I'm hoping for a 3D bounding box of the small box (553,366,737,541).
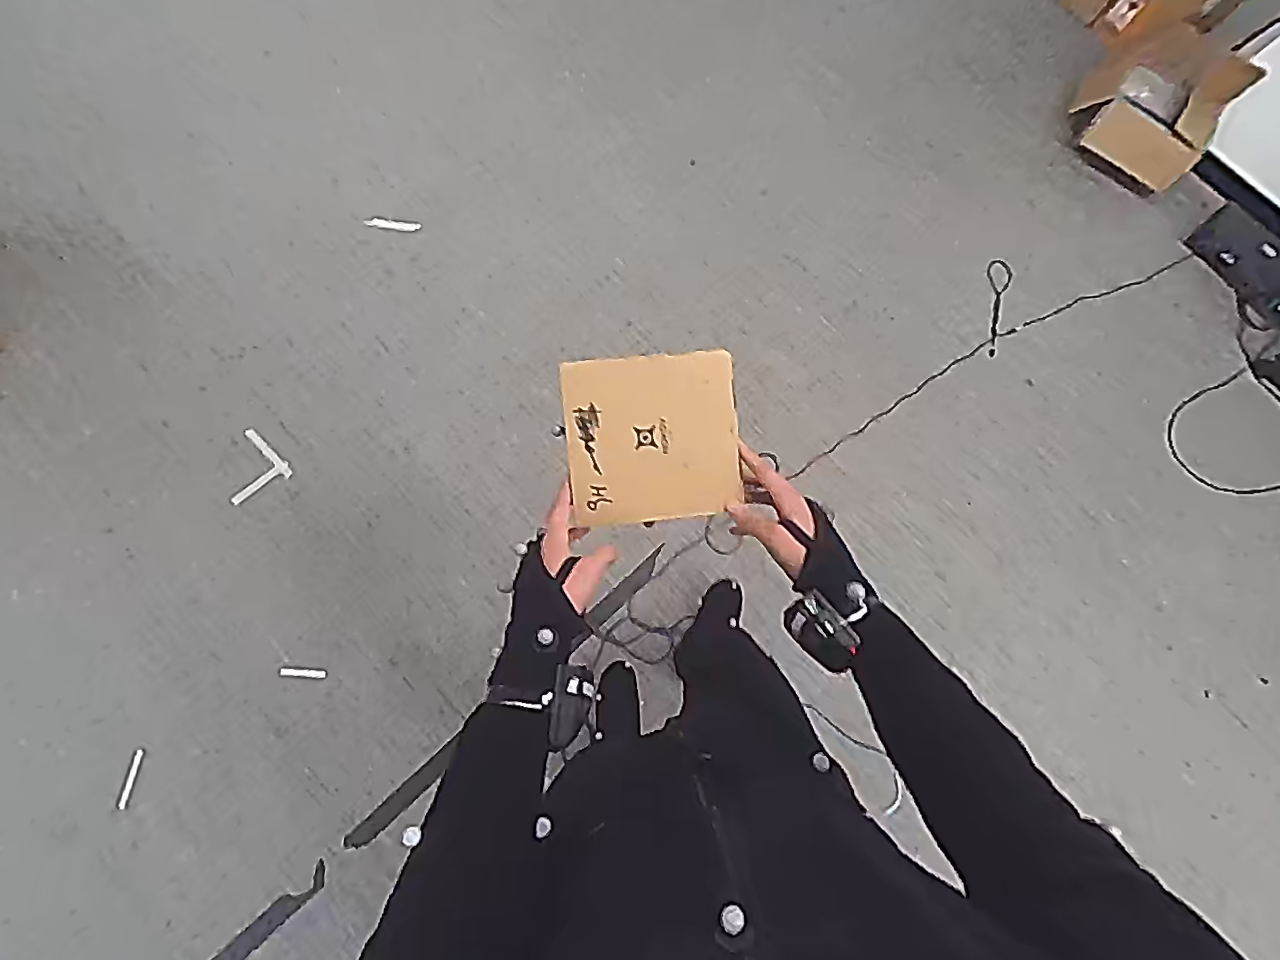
[{"bbox_3d":[-0.003,-0.030,0.625,0.179,0.176,0.168,-7,91,-6],"label":"small box"}]
